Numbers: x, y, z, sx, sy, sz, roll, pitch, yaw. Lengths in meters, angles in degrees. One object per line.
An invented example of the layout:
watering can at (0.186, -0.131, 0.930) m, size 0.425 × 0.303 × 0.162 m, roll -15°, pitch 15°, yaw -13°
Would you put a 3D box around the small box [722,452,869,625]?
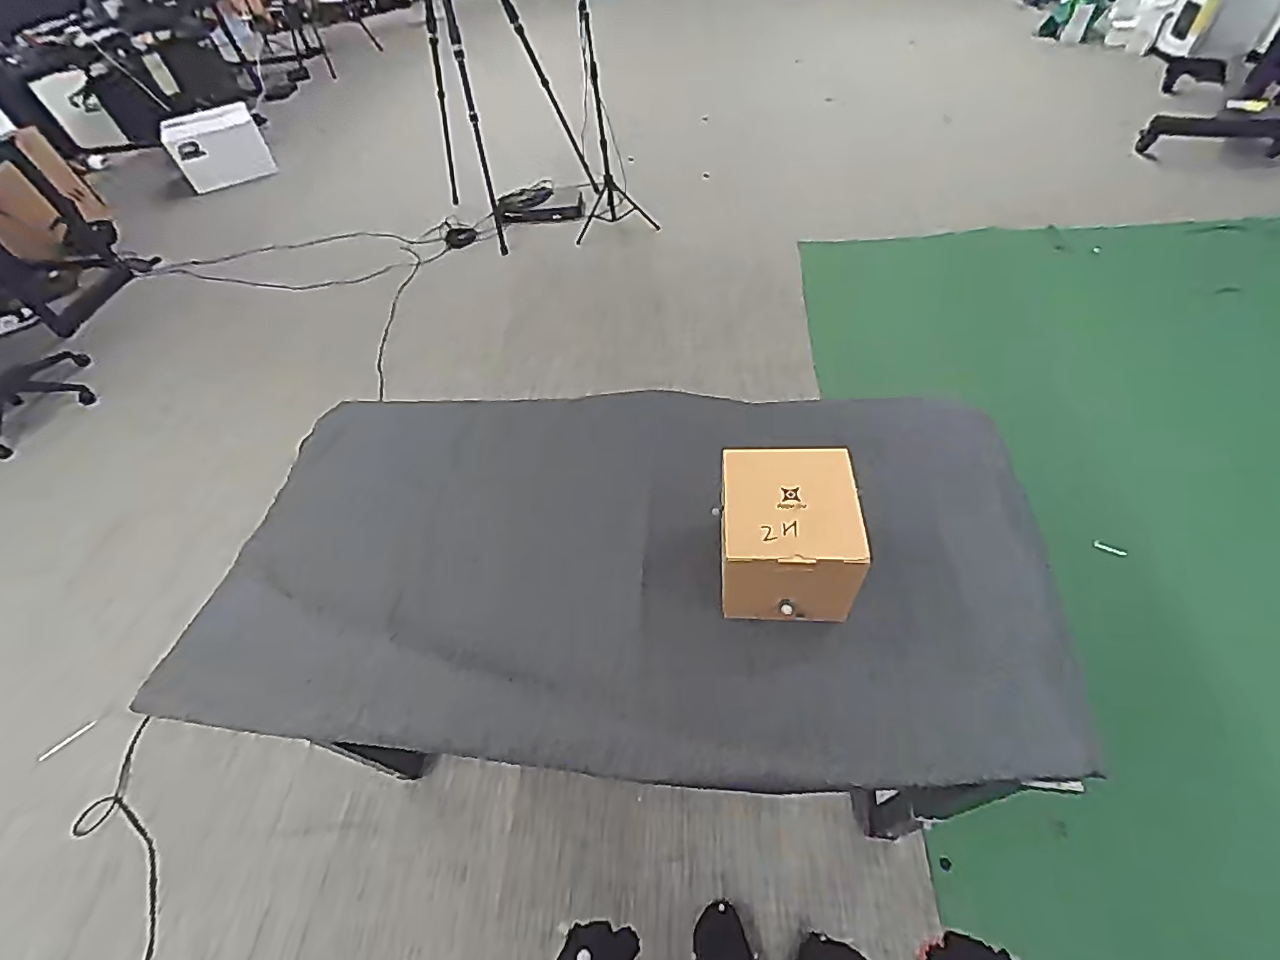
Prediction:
small box at (0.198, 0.080, 0.744) m, size 0.168 × 0.176 × 0.179 m, roll 0°, pitch 51°, yaw 8°
